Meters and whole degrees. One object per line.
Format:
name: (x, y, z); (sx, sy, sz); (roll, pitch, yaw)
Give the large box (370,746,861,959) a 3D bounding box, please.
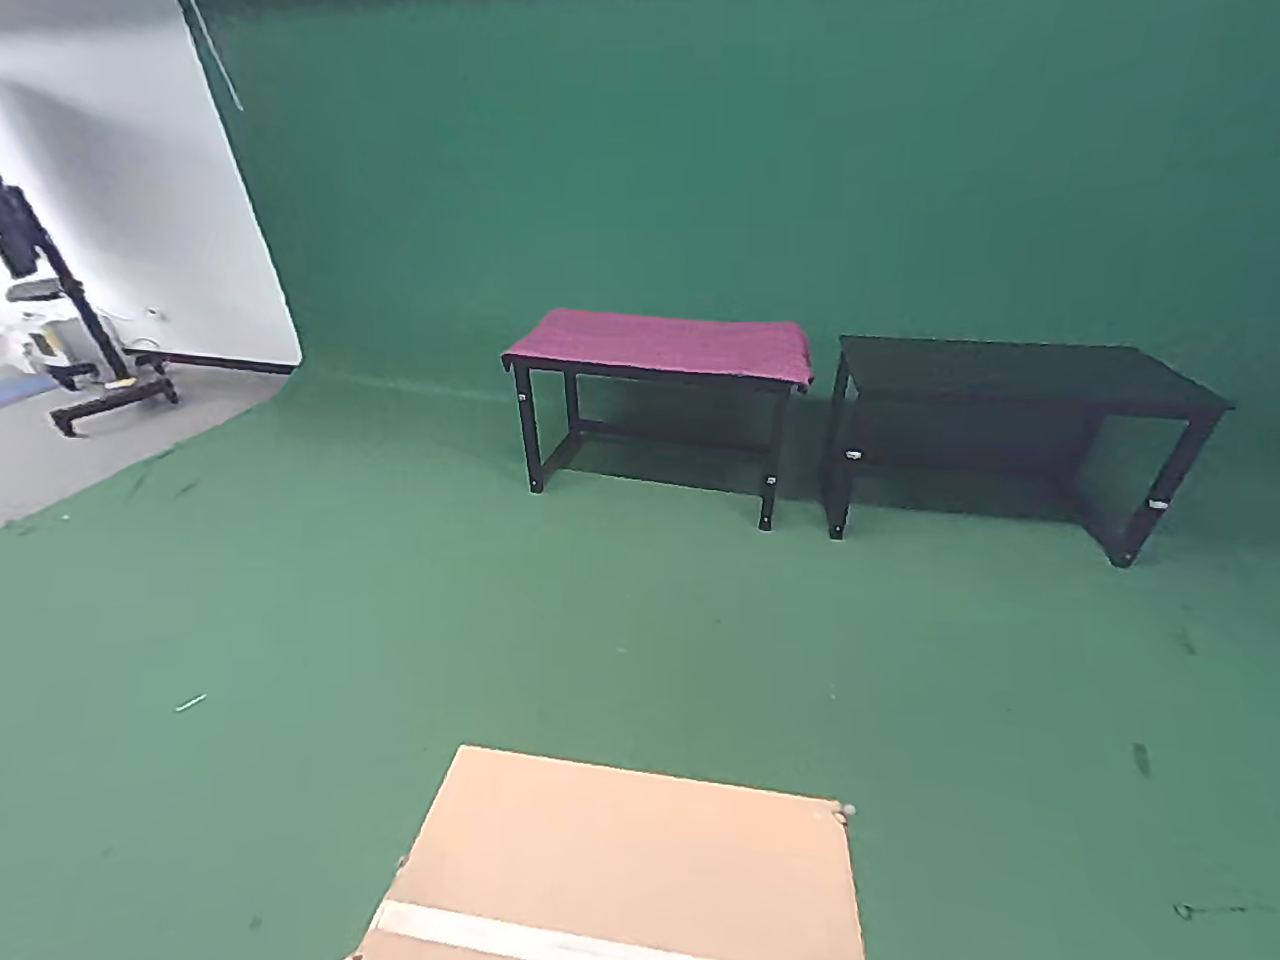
large box: (-0.022, 0.514, 0.524); (0.408, 0.320, 0.320); (6, 32, 6)
